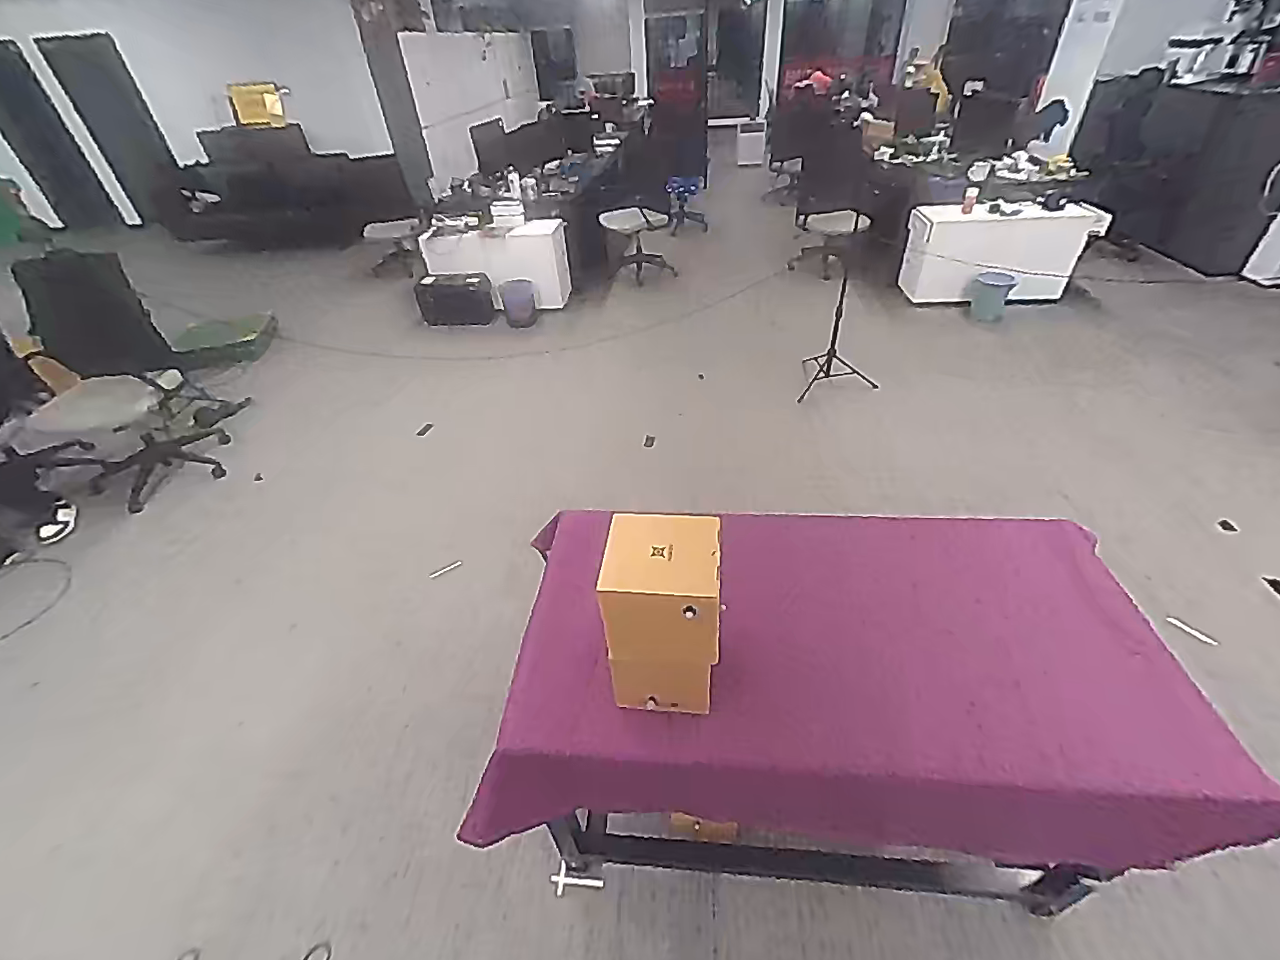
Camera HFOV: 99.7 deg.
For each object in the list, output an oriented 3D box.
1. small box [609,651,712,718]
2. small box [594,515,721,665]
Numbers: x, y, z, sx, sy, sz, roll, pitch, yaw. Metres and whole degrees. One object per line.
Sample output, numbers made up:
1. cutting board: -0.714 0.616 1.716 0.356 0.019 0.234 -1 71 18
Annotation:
1. small box: 0.045 0.295 0.966 0.168 0.176 0.179 1 40 8
2. small box: 0.037 0.174 0.858 0.179 0.176 0.168 2 40 8
